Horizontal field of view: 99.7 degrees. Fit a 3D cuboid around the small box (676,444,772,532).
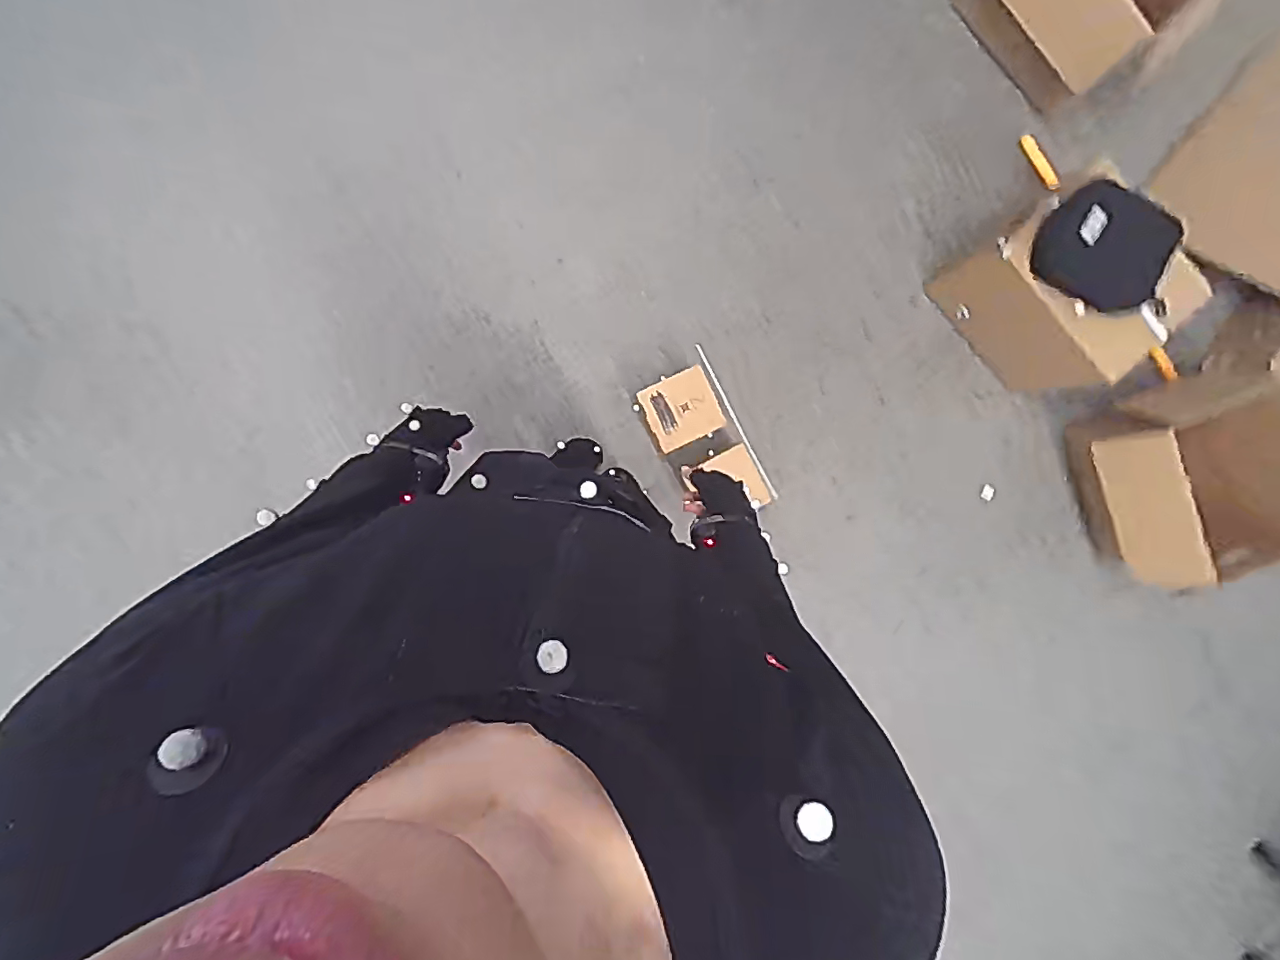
[{"bbox_3d":[0.210,0.015,1.408,0.179,0.176,0.168,-28,94,-1],"label":"small box"}]
